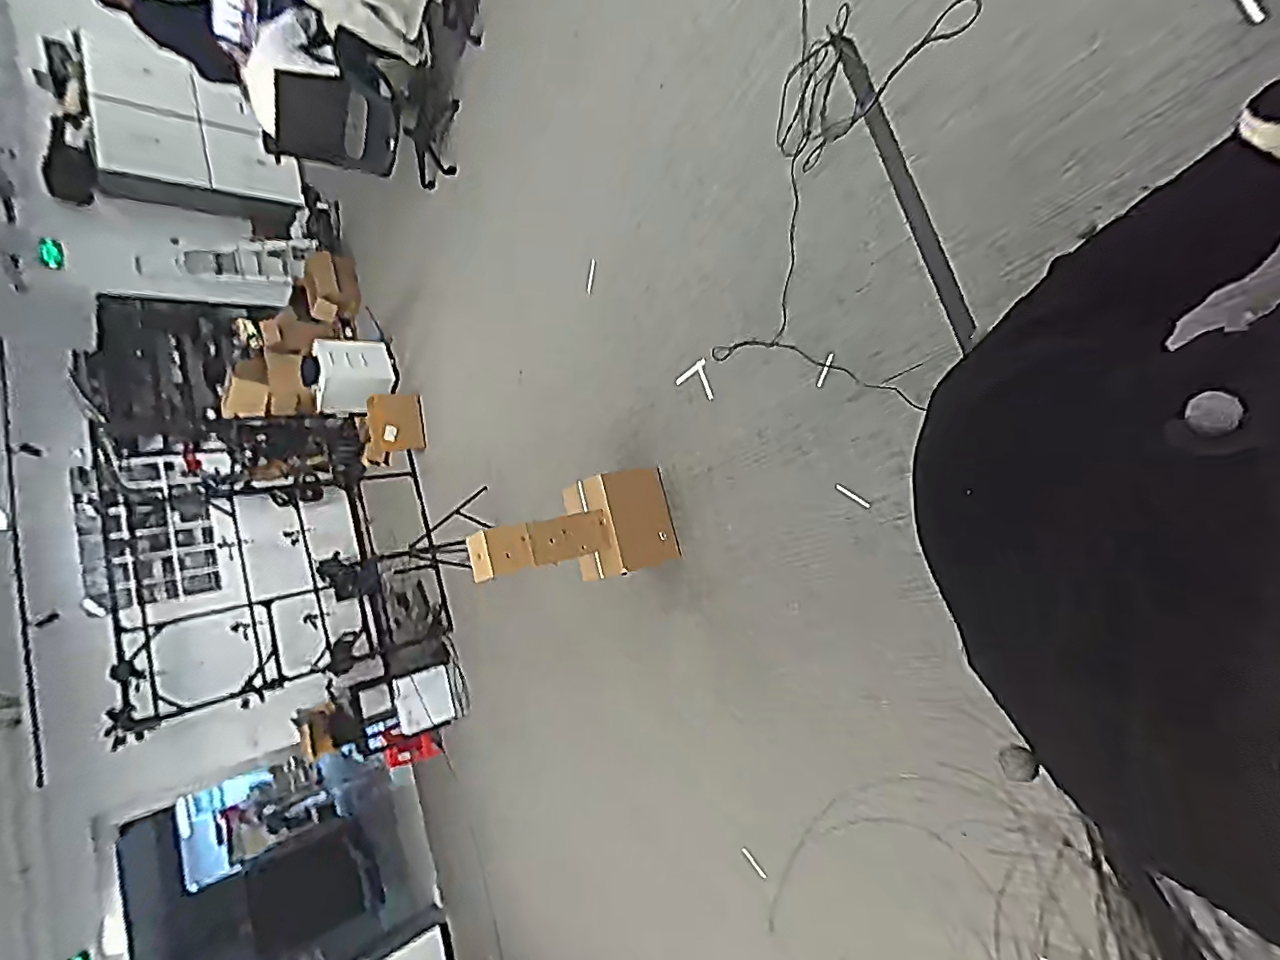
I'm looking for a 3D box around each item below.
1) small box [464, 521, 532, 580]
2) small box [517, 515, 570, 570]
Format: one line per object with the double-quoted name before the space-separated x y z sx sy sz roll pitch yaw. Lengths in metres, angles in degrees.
"small box" -0.502 0.251 1.933 0.179 0.176 0.168 -24 79 50
"small box" -0.378 0.234 2.039 0.179 0.176 0.168 -20 81 49
